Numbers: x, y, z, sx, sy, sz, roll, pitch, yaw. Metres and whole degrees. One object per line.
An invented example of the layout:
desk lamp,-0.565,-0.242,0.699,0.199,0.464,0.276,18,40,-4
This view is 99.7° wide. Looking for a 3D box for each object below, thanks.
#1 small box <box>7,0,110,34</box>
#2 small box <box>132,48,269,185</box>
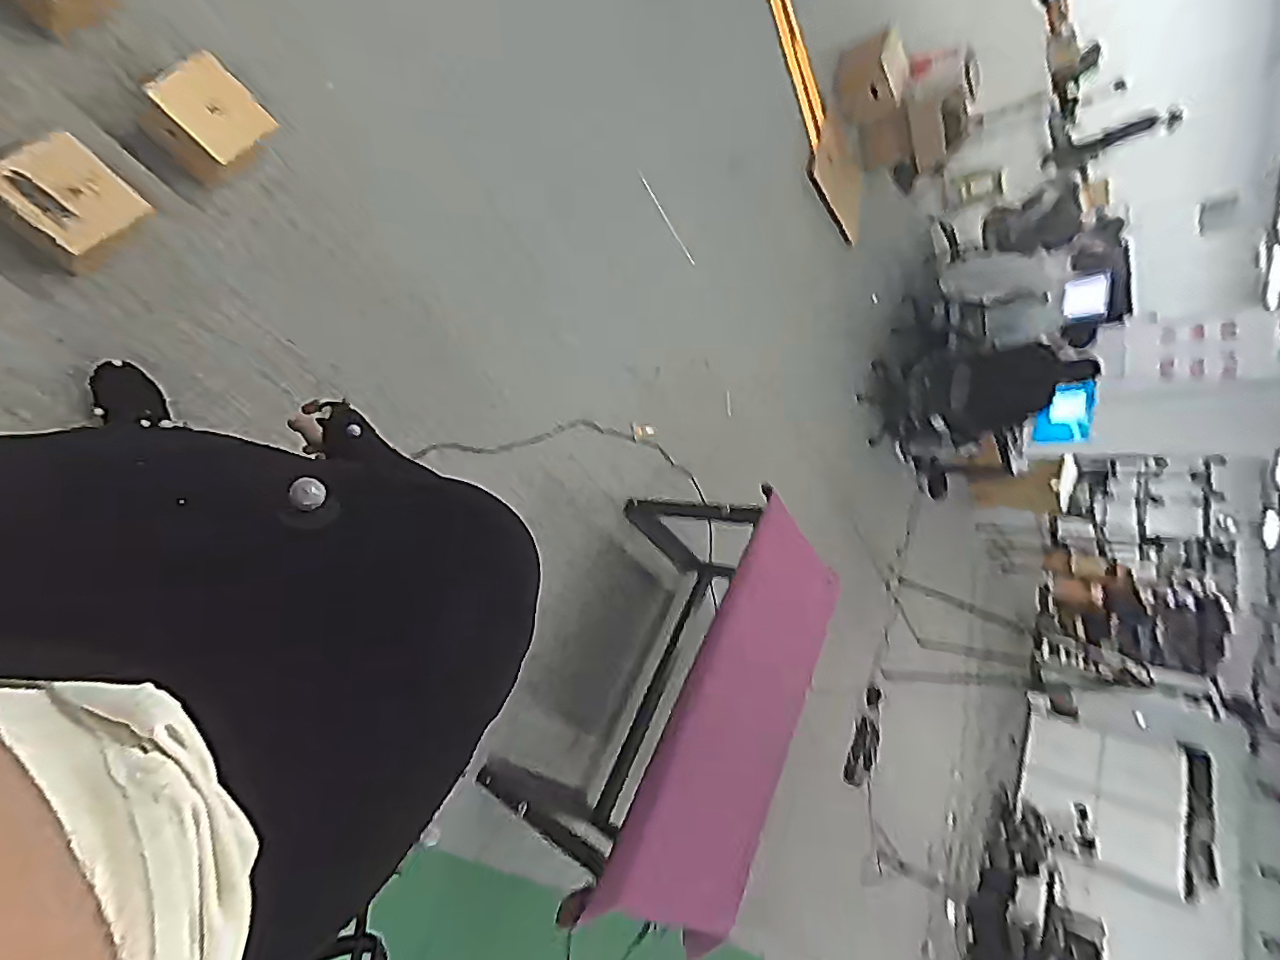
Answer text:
small box,-1.163,-1.014,1.036,0.168,0.176,0.179,48,59,-36
small box,-0.992,-0.810,1.222,0.168,0.176,0.179,47,59,-35
